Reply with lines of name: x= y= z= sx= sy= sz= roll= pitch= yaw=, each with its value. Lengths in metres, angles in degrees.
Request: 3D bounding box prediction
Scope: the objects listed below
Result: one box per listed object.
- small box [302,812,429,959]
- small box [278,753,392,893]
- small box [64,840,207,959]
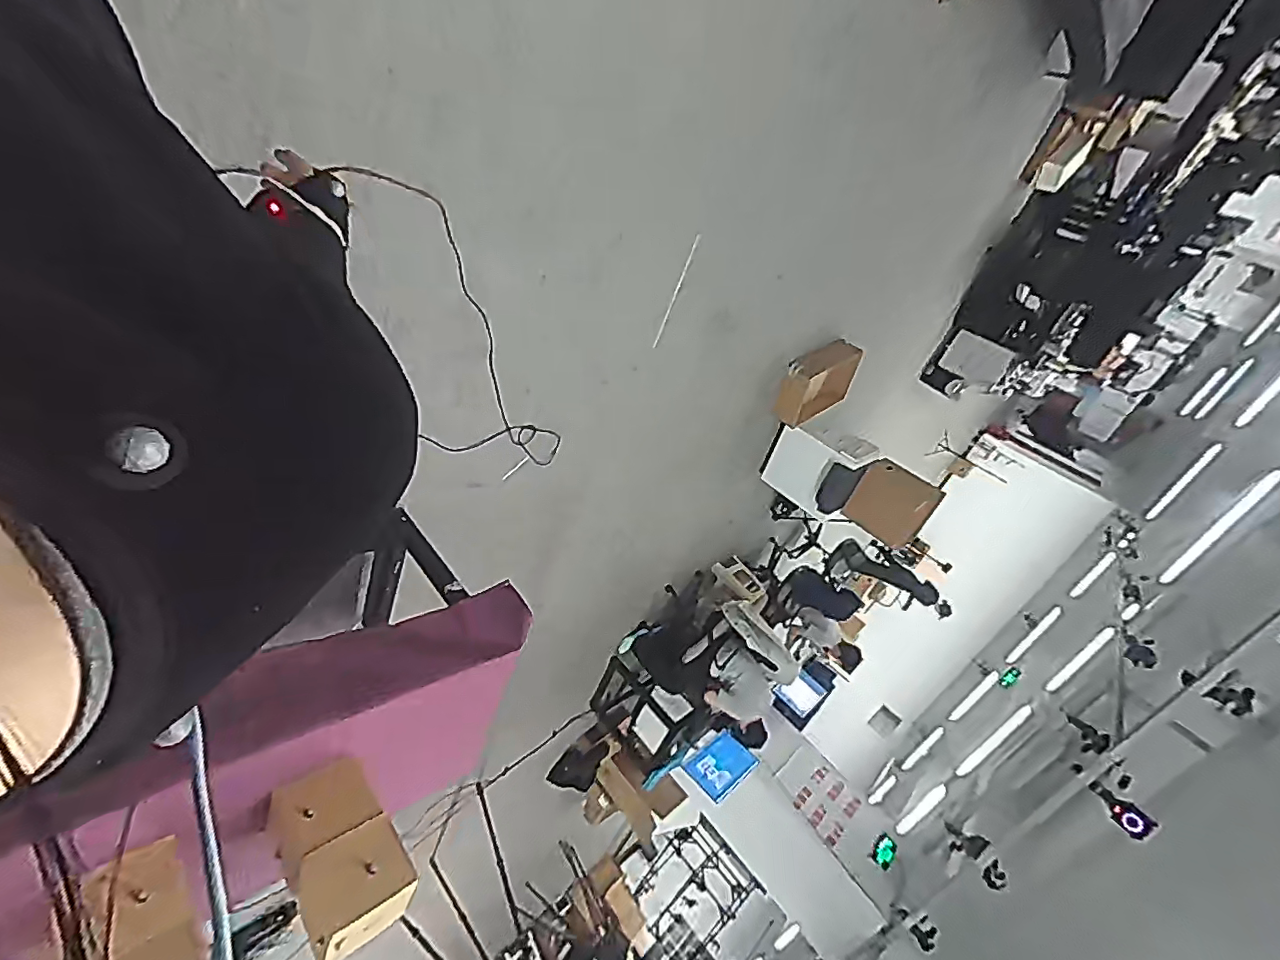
small box: x=-0.590 y=0.864 z=1.158 sx=0.179 sy=0.176 sz=0.168 roll=-8 pitch=130 yaw=-49
small box: x=-0.702 y=0.775 z=1.238 sx=0.179 sy=0.176 sz=0.168 roll=-8 pitch=131 yaw=-49
small box: x=-0.918 y=0.803 z=0.983 sx=0.168 sy=0.176 sz=0.179 roll=-7 pitch=130 yaw=-50
